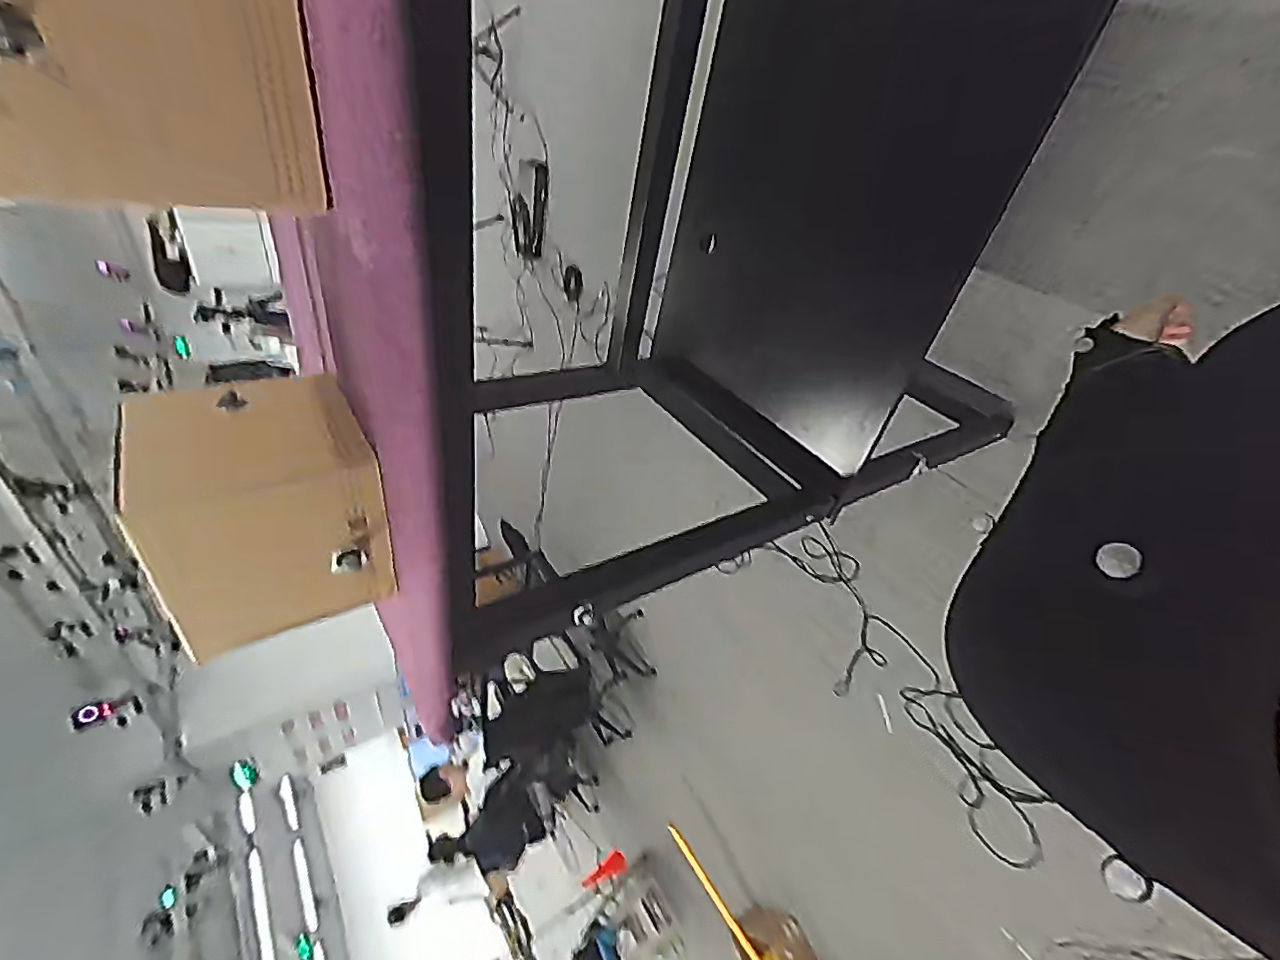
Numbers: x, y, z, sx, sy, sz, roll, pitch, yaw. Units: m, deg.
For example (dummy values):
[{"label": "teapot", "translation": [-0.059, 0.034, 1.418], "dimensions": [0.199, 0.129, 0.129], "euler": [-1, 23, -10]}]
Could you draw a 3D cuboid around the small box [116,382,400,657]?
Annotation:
[{"label": "small box", "translation": [-0.338, 0.020, 0.500], "dimensions": [0.179, 0.176, 0.168], "euler": [42, 137, 38]}]

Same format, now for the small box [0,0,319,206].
[{"label": "small box", "translation": [-0.301, -0.272, 0.310], "dimensions": [0.168, 0.176, 0.179], "euler": [48, 139, 37]}]
